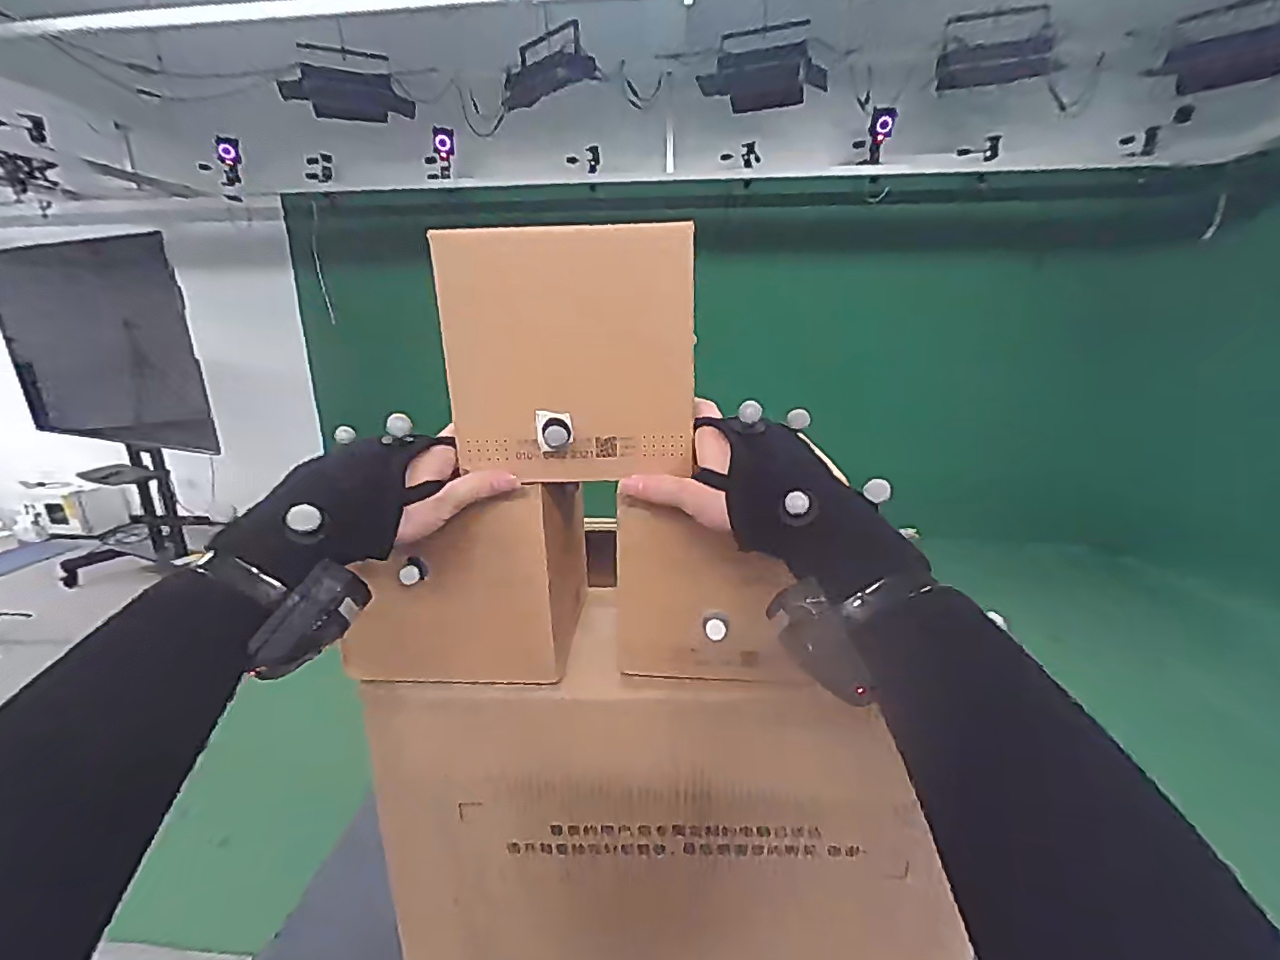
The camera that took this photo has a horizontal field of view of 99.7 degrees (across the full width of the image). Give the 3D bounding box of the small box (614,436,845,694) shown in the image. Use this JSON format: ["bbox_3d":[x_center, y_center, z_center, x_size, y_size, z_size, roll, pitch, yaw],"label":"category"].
[{"bbox_3d":[0.068,0.061,0.485,0.168,0.176,0.179,3,18,5],"label":"small box"}]

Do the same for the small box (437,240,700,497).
[{"bbox_3d":[-0.046,-0.092,0.434,0.168,0.176,0.179,-2,18,-1],"label":"small box"}]
